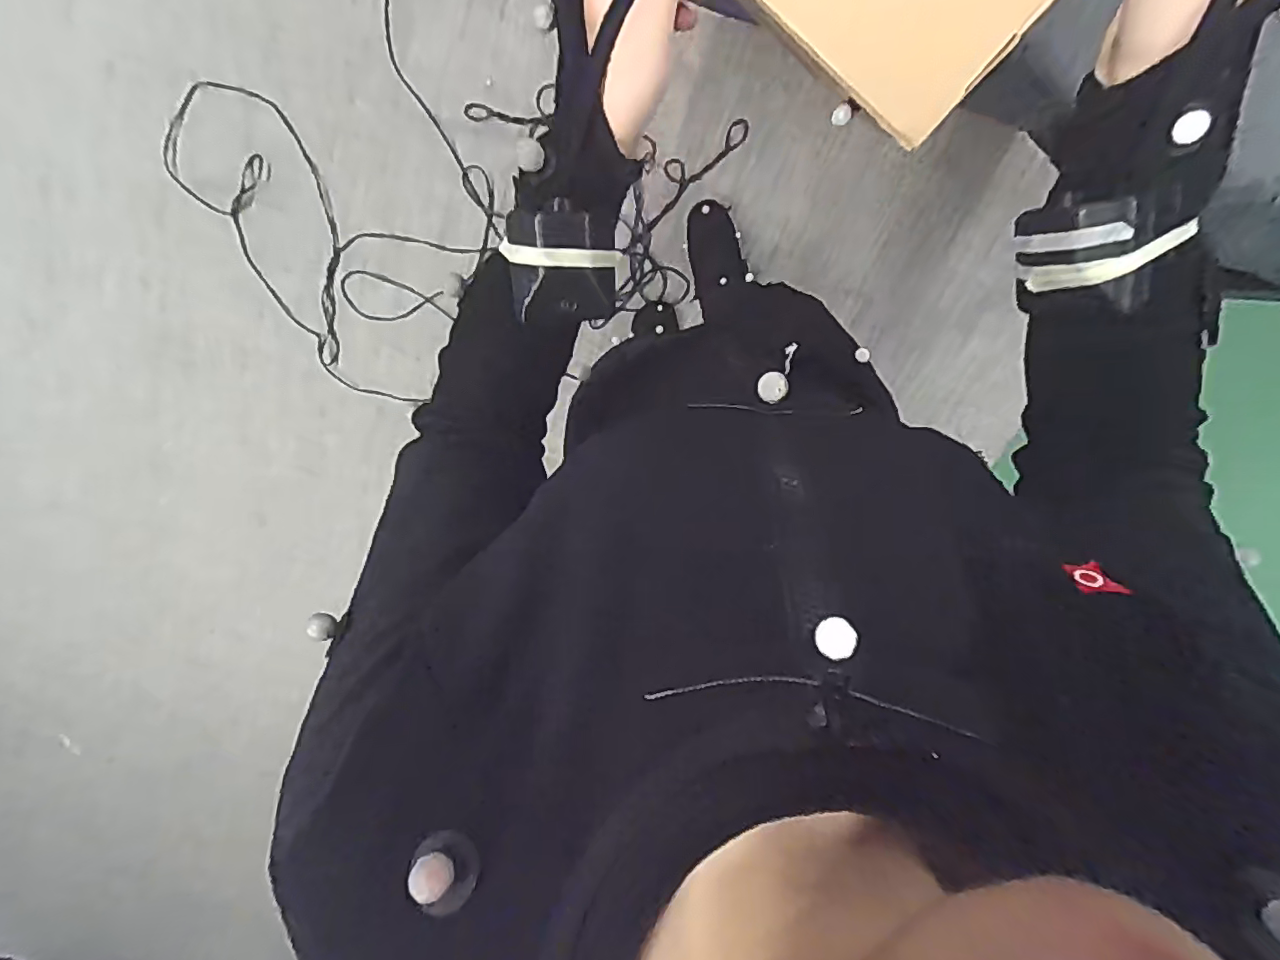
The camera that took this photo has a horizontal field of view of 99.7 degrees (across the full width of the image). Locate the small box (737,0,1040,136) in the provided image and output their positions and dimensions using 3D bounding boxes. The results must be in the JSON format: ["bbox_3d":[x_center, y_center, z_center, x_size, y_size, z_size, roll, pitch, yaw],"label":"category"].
[{"bbox_3d":[0.134,-0.324,0.287,0.179,0.176,0.168,31,128,-15],"label":"small box"}]
